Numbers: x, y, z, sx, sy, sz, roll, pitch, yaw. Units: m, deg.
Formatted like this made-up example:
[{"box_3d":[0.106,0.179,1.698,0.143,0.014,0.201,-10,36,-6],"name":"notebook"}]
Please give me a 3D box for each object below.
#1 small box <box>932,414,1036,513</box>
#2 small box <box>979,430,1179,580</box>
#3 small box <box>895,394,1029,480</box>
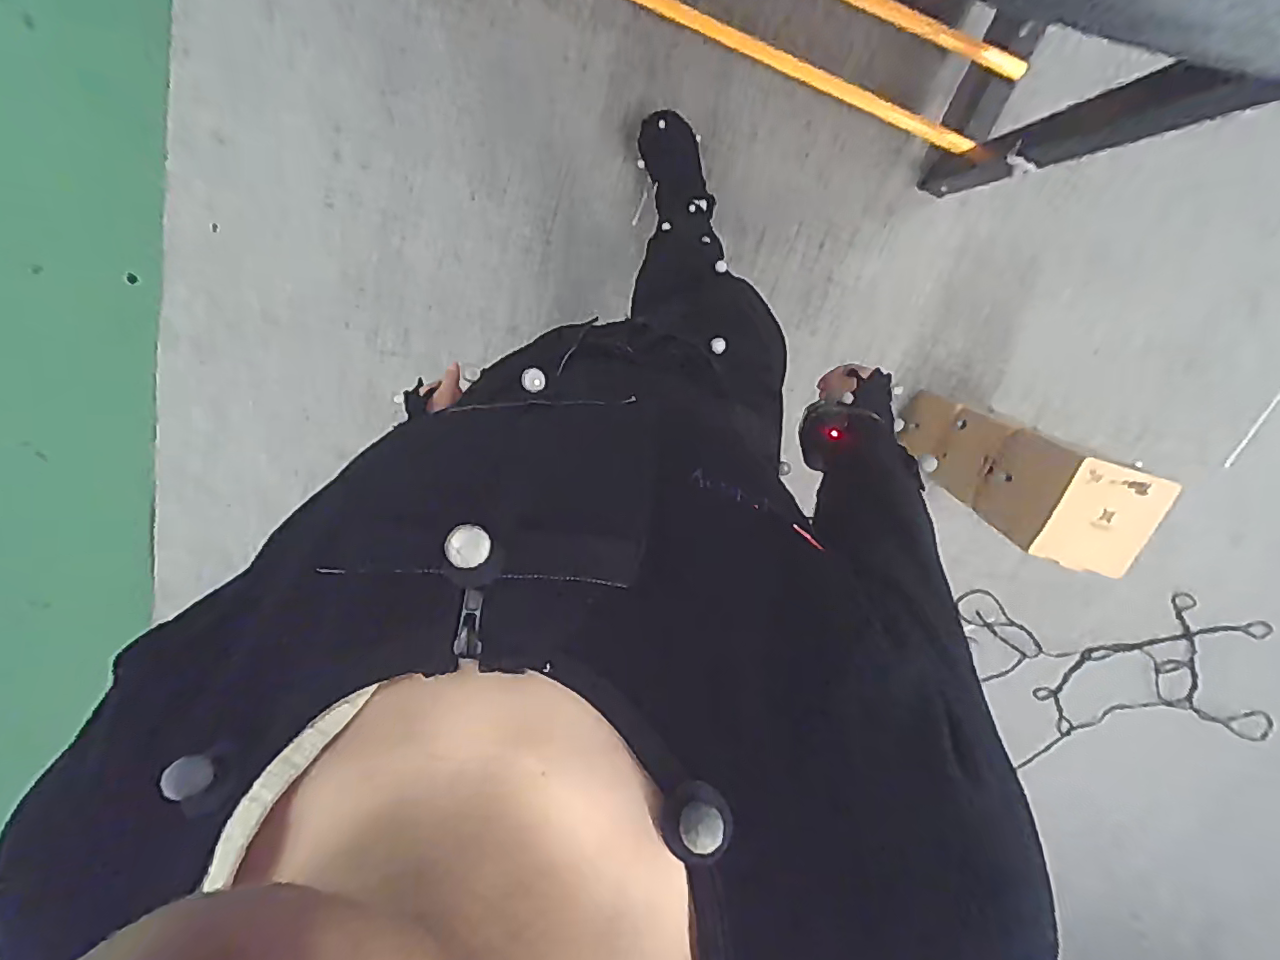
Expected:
[{"box_3d":[0.724,-0.022,1.072,0.179,0.176,0.168,15,111,-4],"name":"small box"},{"box_3d":[0.722,0.037,0.919,0.168,0.176,0.179,16,111,-4],"name":"small box"},{"box_3d":[0.719,-0.085,1.224,0.179,0.176,0.168,15,110,-3],"name":"small box"}]
